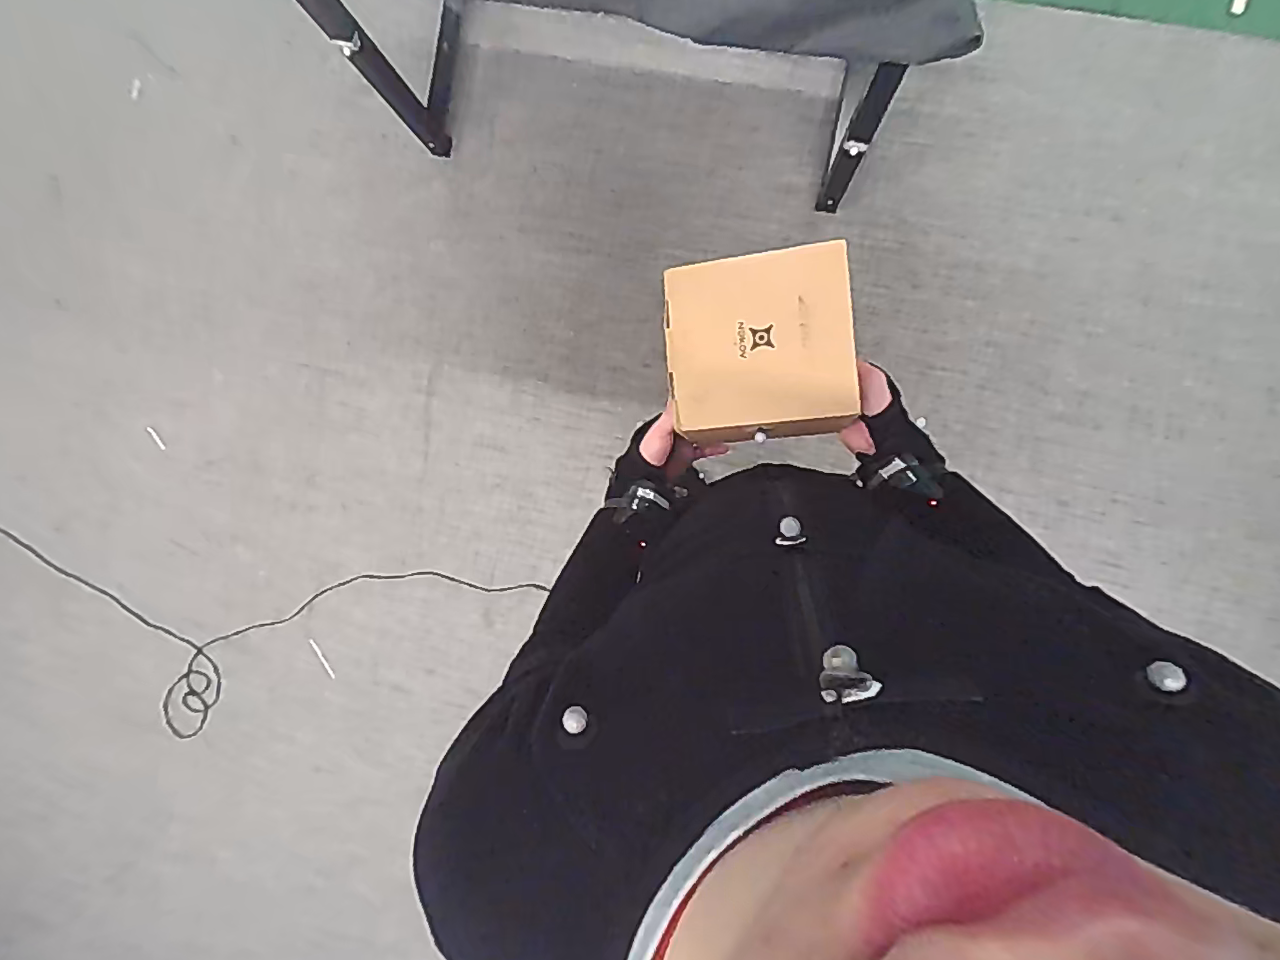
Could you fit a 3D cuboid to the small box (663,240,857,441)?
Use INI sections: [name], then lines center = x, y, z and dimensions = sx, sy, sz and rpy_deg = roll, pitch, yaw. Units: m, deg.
[small box]
center = 0.131, -0.136, 0.598
dimensions = 0.179, 0.176, 0.168
rpy_deg = -5, 89, 13
